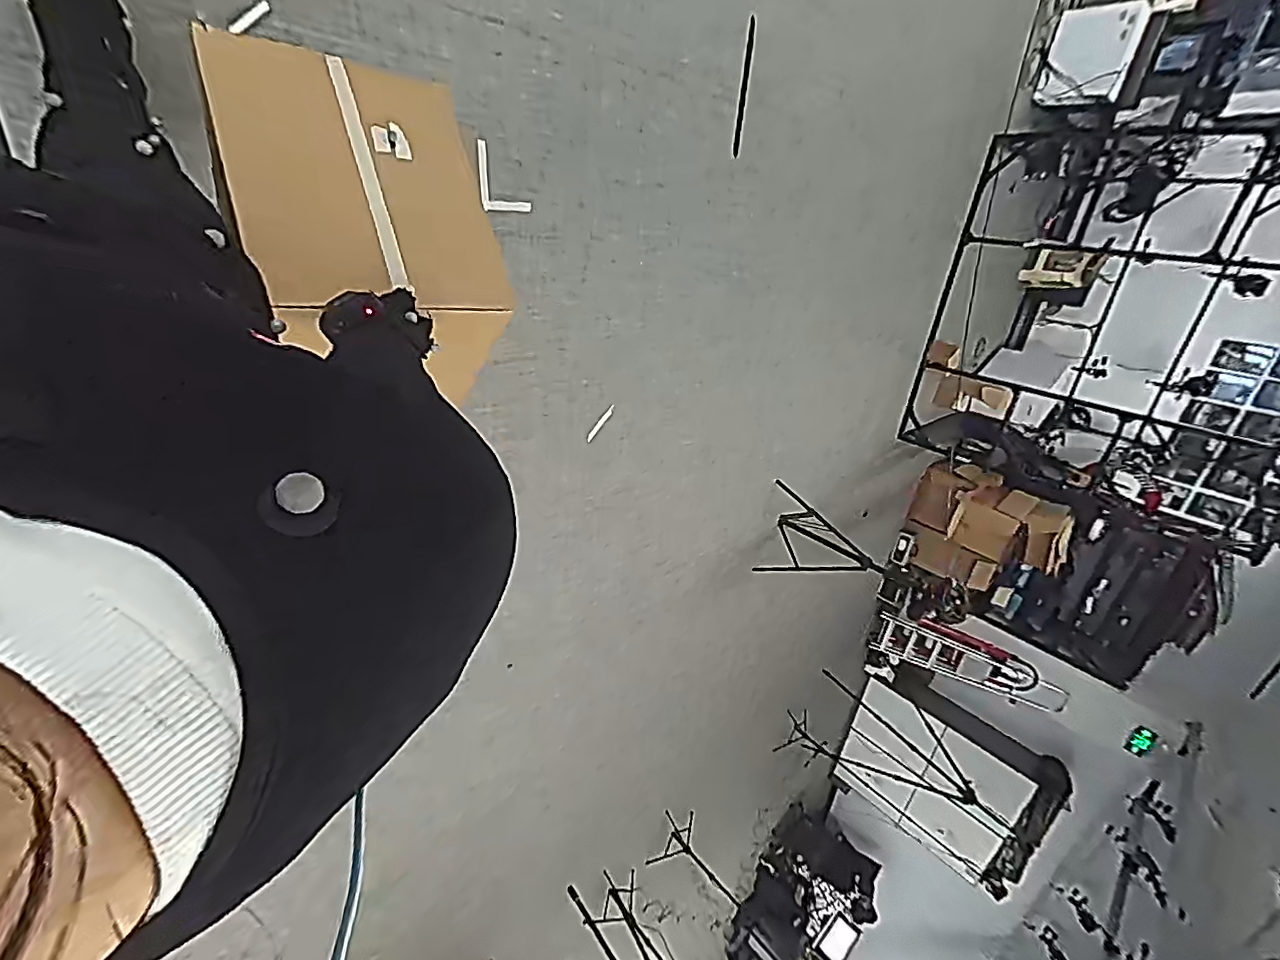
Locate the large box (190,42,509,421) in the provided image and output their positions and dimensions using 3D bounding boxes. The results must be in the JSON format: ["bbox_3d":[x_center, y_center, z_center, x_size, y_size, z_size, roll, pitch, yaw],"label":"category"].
[{"bbox_3d":[-0.456,-0.351,0.856,0.320,0.408,0.320,-13,166,-38],"label":"large box"}]
